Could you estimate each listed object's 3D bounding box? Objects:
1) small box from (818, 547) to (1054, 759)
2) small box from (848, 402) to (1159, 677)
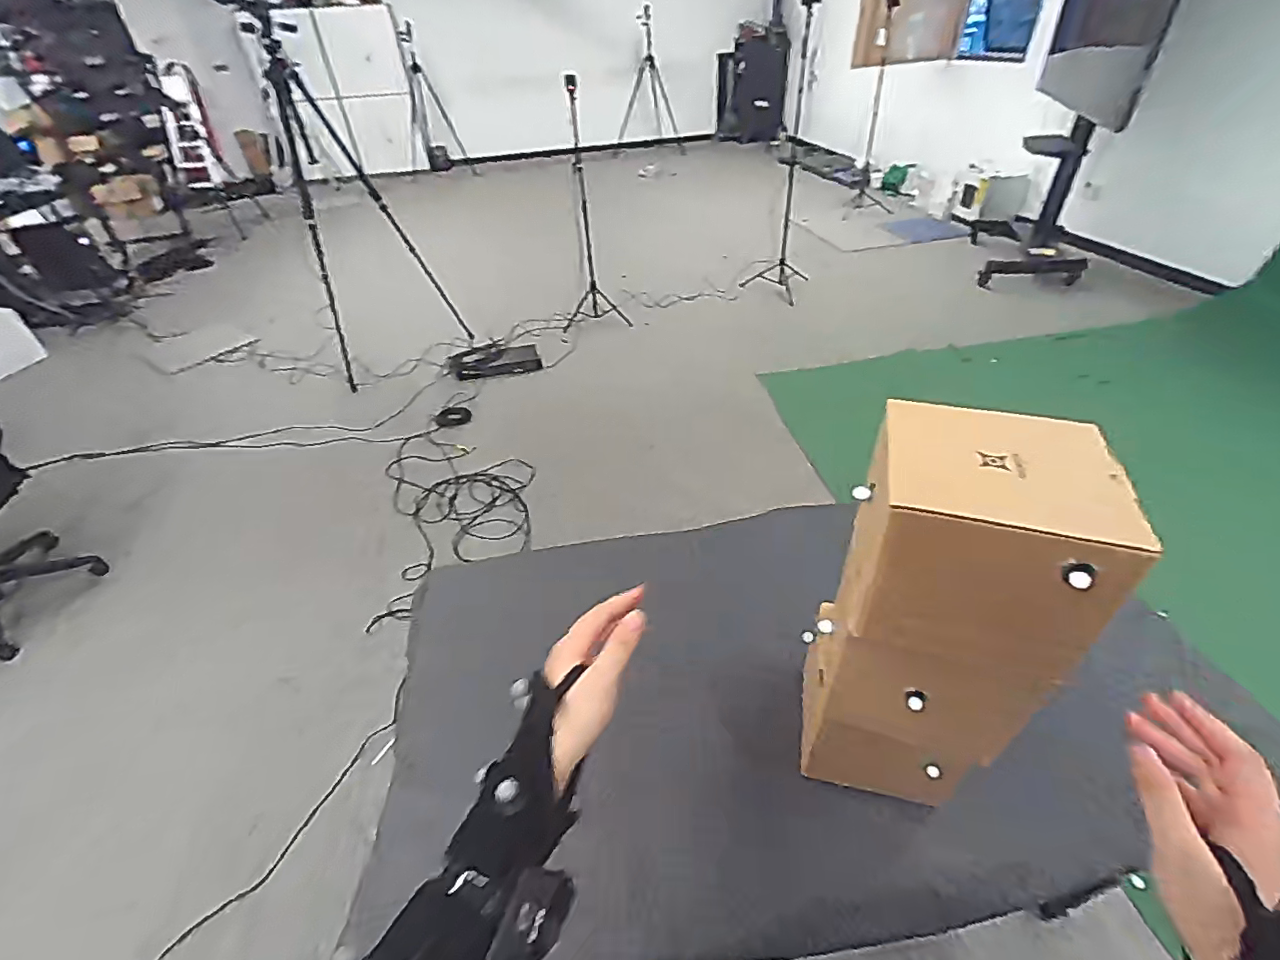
[{"bbox_3d":[0.307,0.175,0.595,0.179,0.176,0.168,12,42,18],"label":"small box"},{"bbox_3d":[0.296,0.050,0.491,0.179,0.176,0.168,11,41,16],"label":"small box"}]
